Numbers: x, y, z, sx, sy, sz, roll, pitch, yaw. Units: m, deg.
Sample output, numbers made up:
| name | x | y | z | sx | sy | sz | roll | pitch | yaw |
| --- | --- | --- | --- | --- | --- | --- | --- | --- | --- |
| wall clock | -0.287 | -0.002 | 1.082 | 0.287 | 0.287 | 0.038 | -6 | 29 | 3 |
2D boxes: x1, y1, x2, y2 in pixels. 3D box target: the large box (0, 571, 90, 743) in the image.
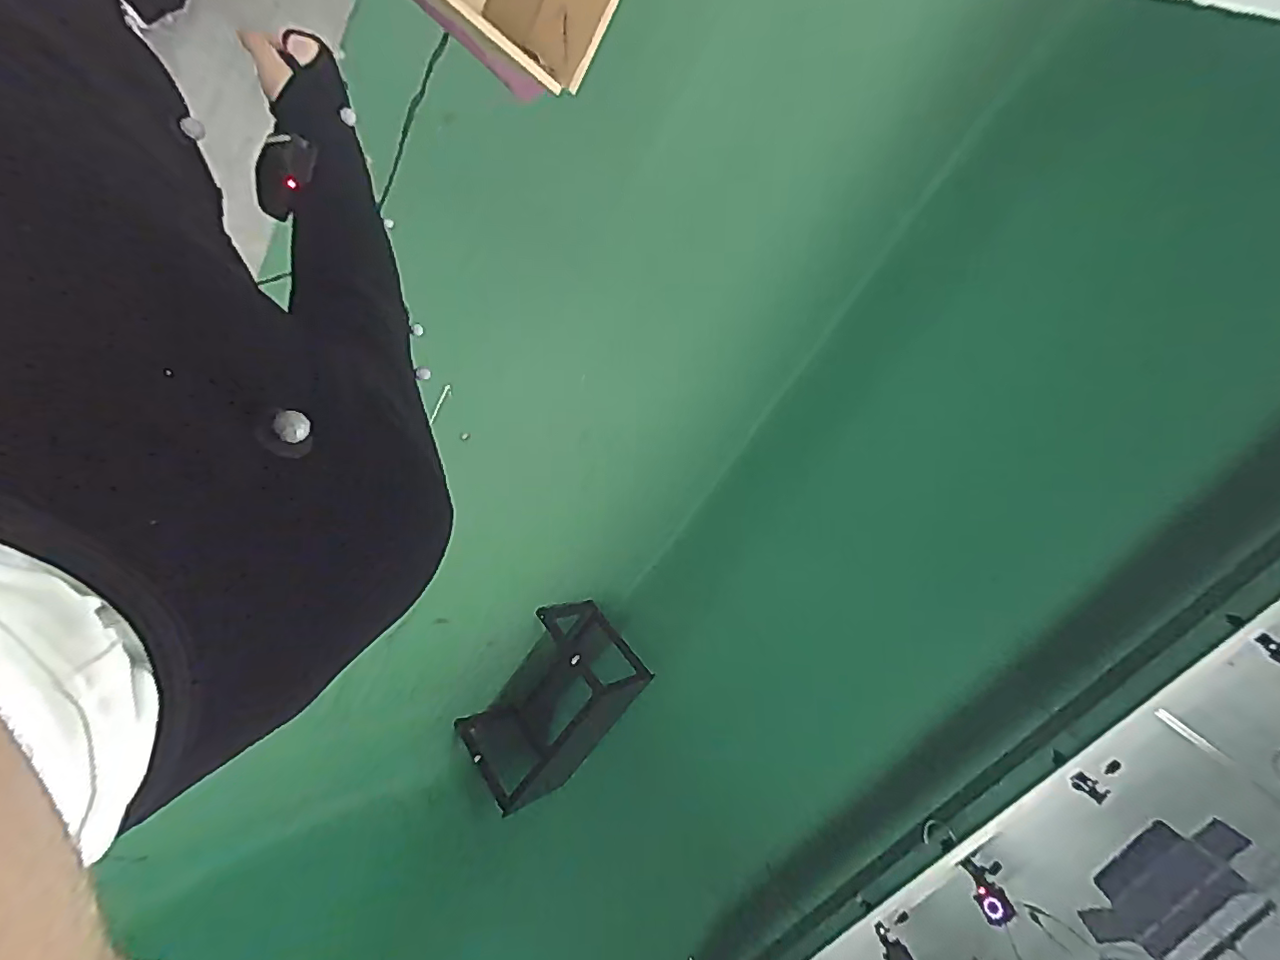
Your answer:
| name | x | y | z | sx | sy | sz | roll | pitch | yaw |
| --- | --- | --- | --- | --- | --- | --- | --- | --- | --- |
| large box | -1.798 | 0.514 | 1.407 | 0.408 | 0.320 | 0.320 | -27 | 148 | -32 |
